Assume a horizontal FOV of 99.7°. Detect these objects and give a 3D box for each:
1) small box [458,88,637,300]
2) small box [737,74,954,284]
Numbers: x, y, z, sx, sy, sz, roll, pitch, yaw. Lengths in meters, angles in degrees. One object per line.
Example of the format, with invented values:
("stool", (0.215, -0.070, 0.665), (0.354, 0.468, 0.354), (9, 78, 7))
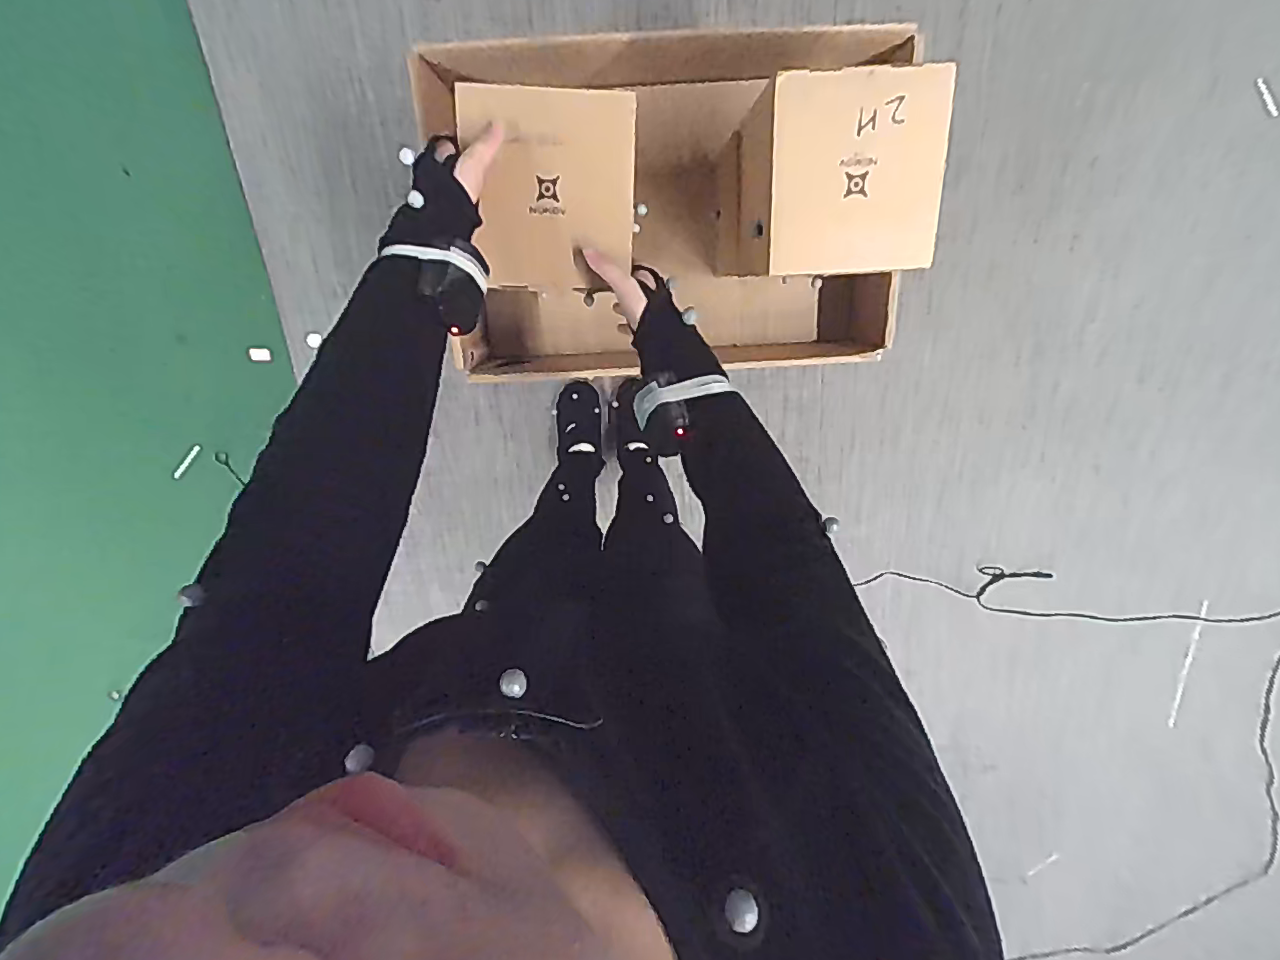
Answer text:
("small box", (-0.090, -0.295, 0.594), (0.168, 0.176, 0.179), (2, 108, -3))
("small box", (0.204, -0.310, 0.590), (0.168, 0.176, 0.179), (-2, 109, 0))
